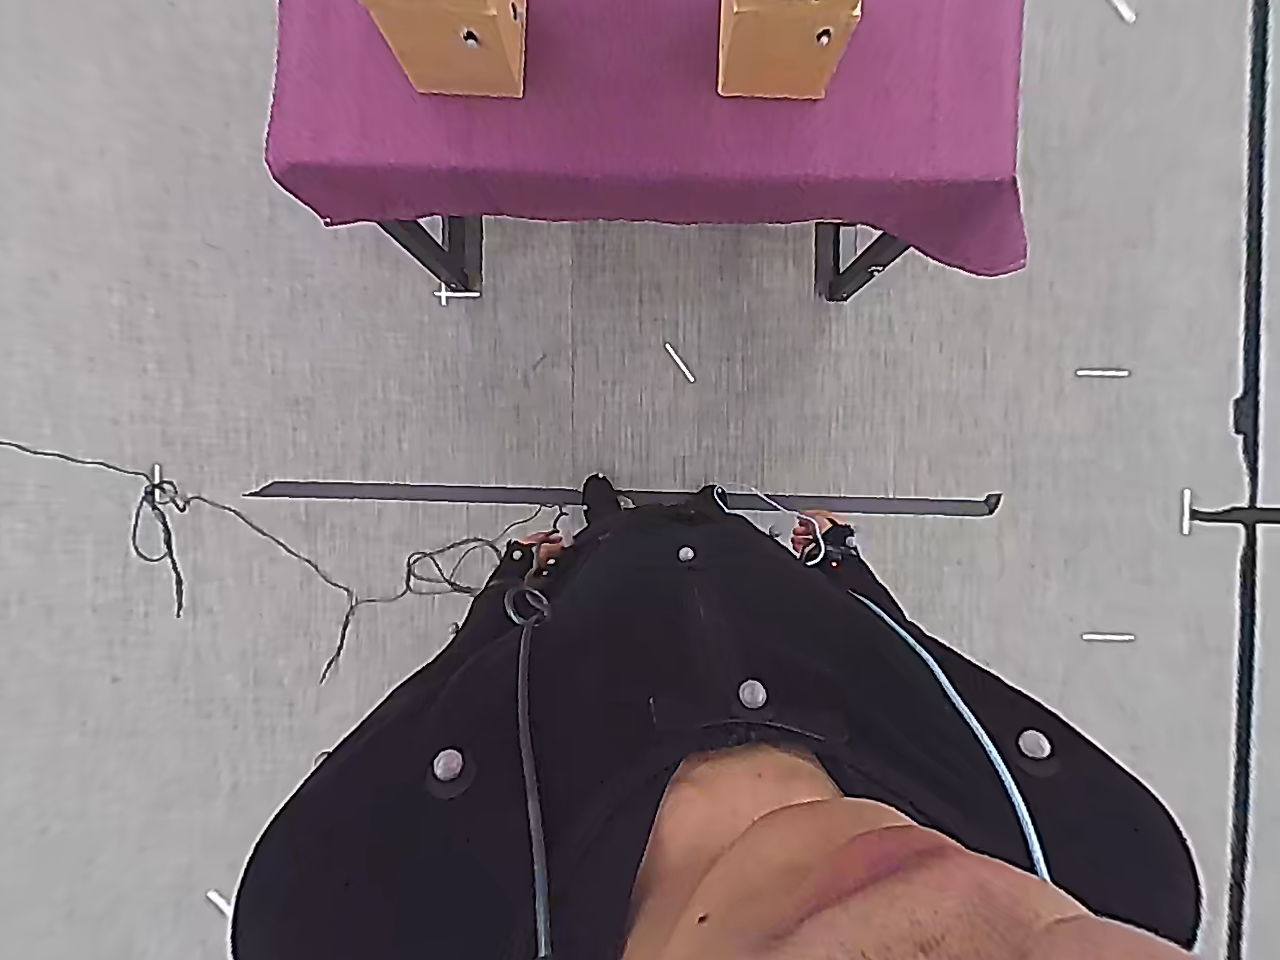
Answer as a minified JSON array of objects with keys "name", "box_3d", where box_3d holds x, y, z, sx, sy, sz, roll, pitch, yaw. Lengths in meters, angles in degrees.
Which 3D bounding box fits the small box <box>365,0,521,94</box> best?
[{"name":"small box","box_3d":[-0.279,-0.712,0.802,0.179,0.176,0.168,3,91,0]}]

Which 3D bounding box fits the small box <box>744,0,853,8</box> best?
[{"name":"small box","box_3d":[0.209,-0.718,0.640,0.168,0.176,0.179,2,92,0]}]

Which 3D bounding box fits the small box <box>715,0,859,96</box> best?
[{"name":"small box","box_3d":[0.210,-0.709,0.804,0.179,0.176,0.168,2,91,0]}]
